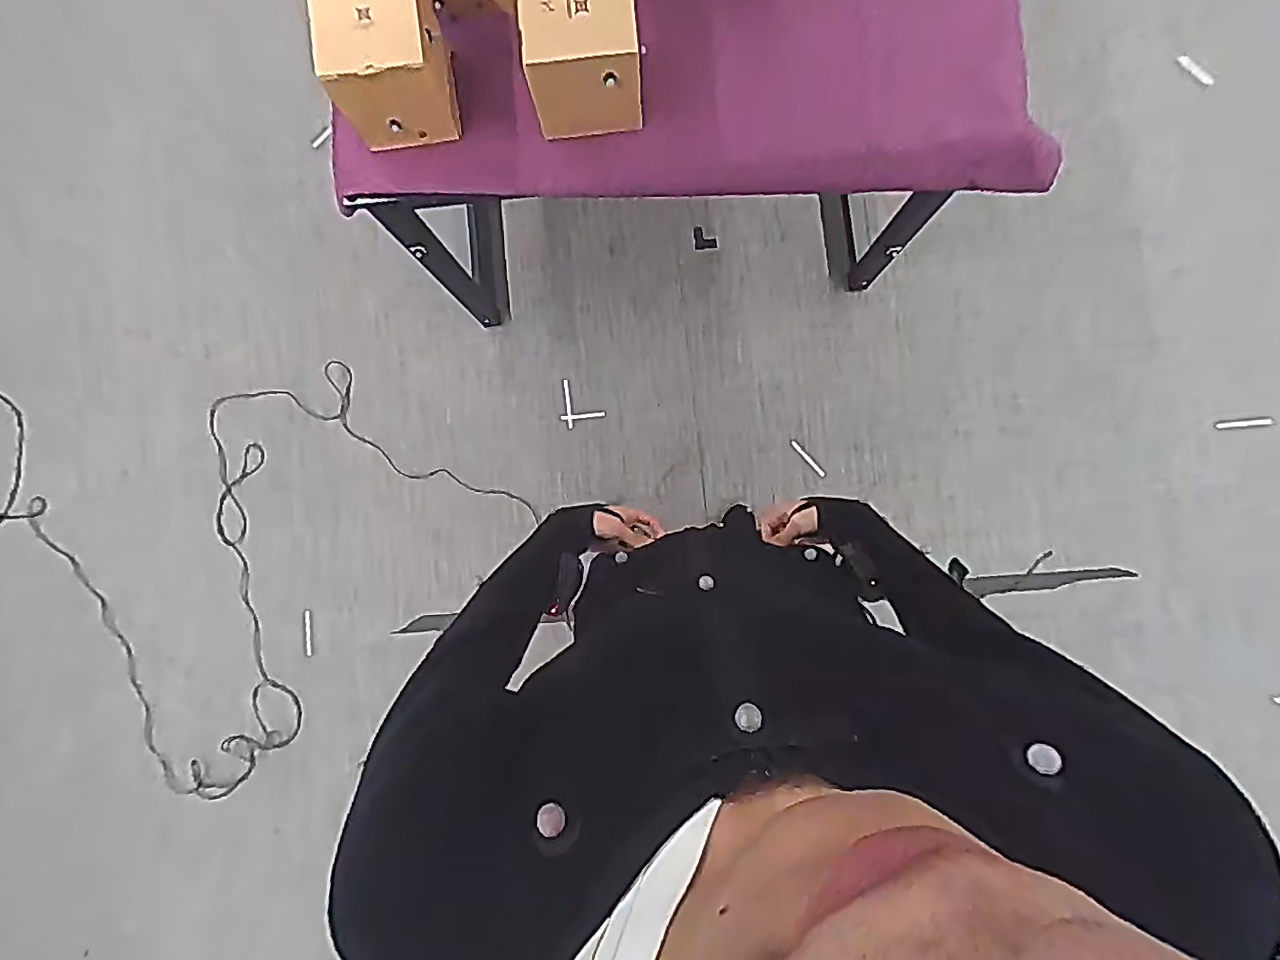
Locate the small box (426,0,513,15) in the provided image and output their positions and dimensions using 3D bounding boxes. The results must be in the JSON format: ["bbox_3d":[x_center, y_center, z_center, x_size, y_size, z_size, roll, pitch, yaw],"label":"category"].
[{"bbox_3d":[-0.309,-0.922,0.898,0.168,0.176,0.179,1,87,2],"label":"small box"}]

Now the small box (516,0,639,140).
[{"bbox_3d":[-0.093,-0.690,0.877,0.179,0.176,0.168,-5,87,3],"label":"small box"}]

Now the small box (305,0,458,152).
[{"bbox_3d":[-0.415,-0.683,0.889,0.168,0.176,0.179,-9,87,0],"label":"small box"}]
